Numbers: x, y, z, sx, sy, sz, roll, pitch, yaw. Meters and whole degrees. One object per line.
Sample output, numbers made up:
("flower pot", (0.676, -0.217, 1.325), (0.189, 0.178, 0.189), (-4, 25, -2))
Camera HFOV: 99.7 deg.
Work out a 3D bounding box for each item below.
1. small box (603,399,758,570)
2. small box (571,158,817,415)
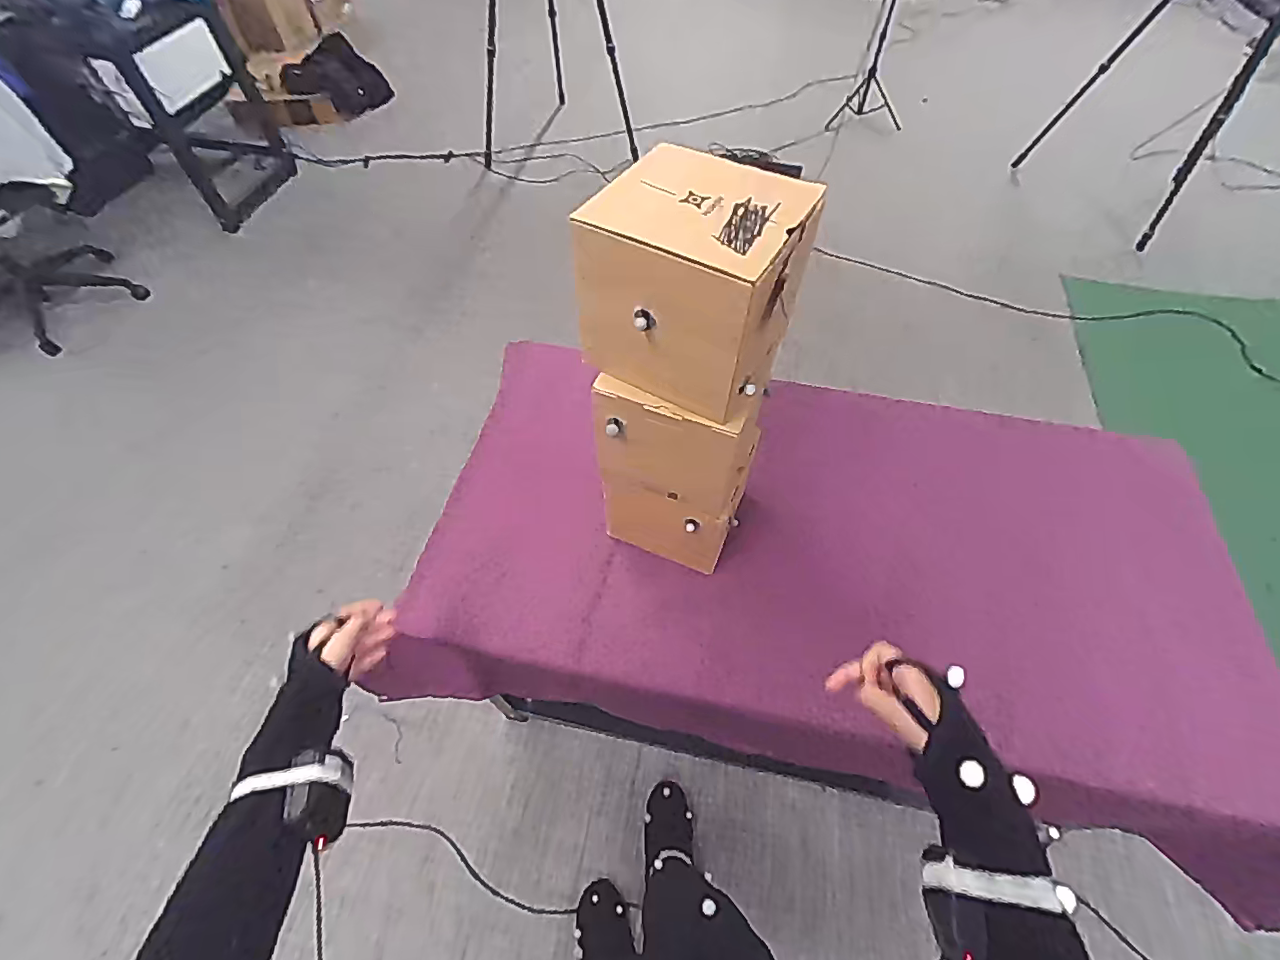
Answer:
("small box", (0.058, 0.012, 0.817), (0.179, 0.176, 0.168), (20, 57, 12))
("small box", (0.052, -0.193, 0.559), (0.179, 0.176, 0.168), (25, 57, 17))
